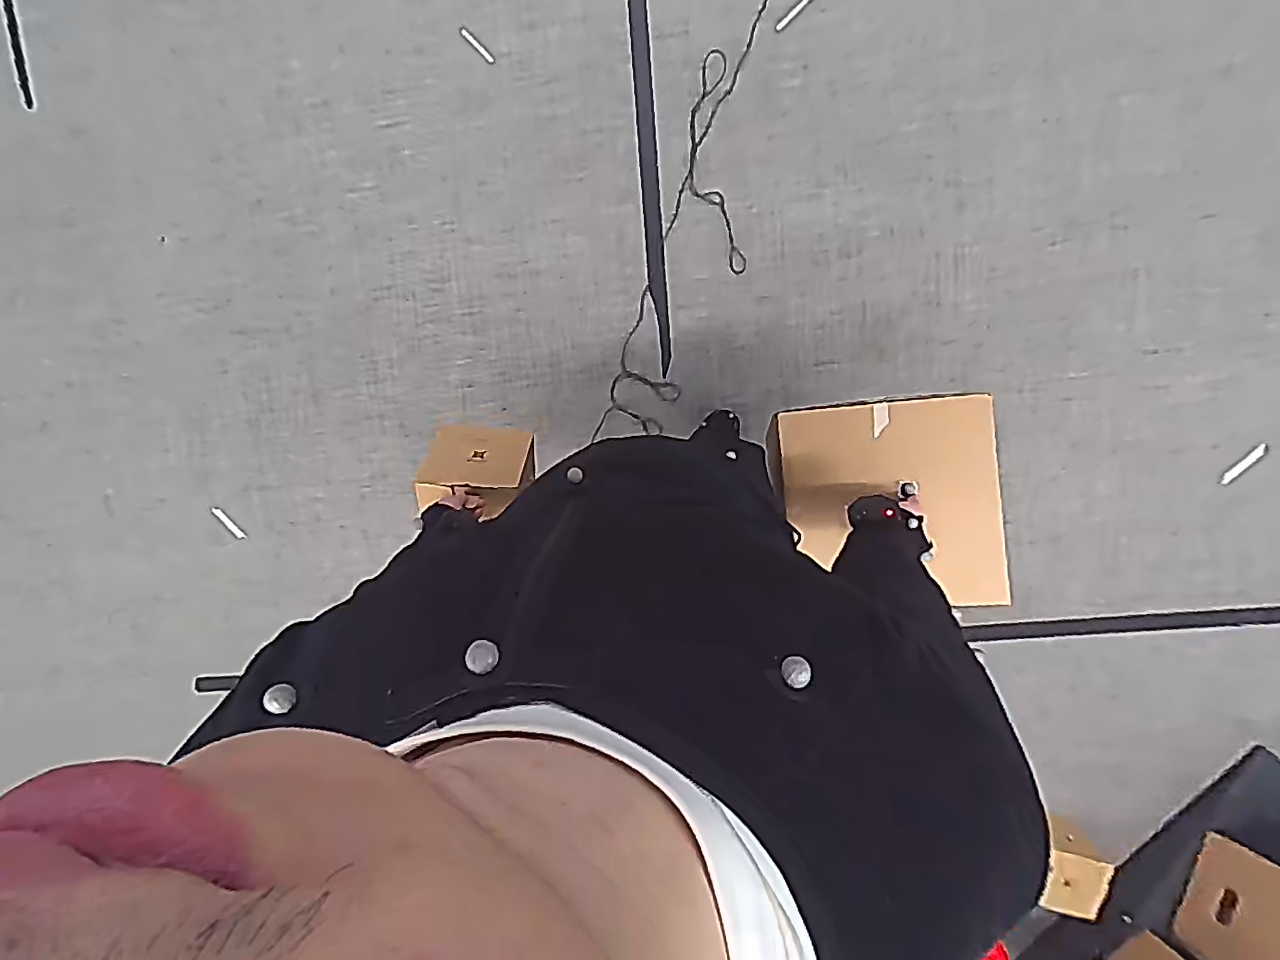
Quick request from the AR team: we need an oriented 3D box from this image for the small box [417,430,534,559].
[{"bbox_3d":[-0.288,0.027,0.992,0.168,0.179,0.176,4,125,-4],"label":"small box"}]
